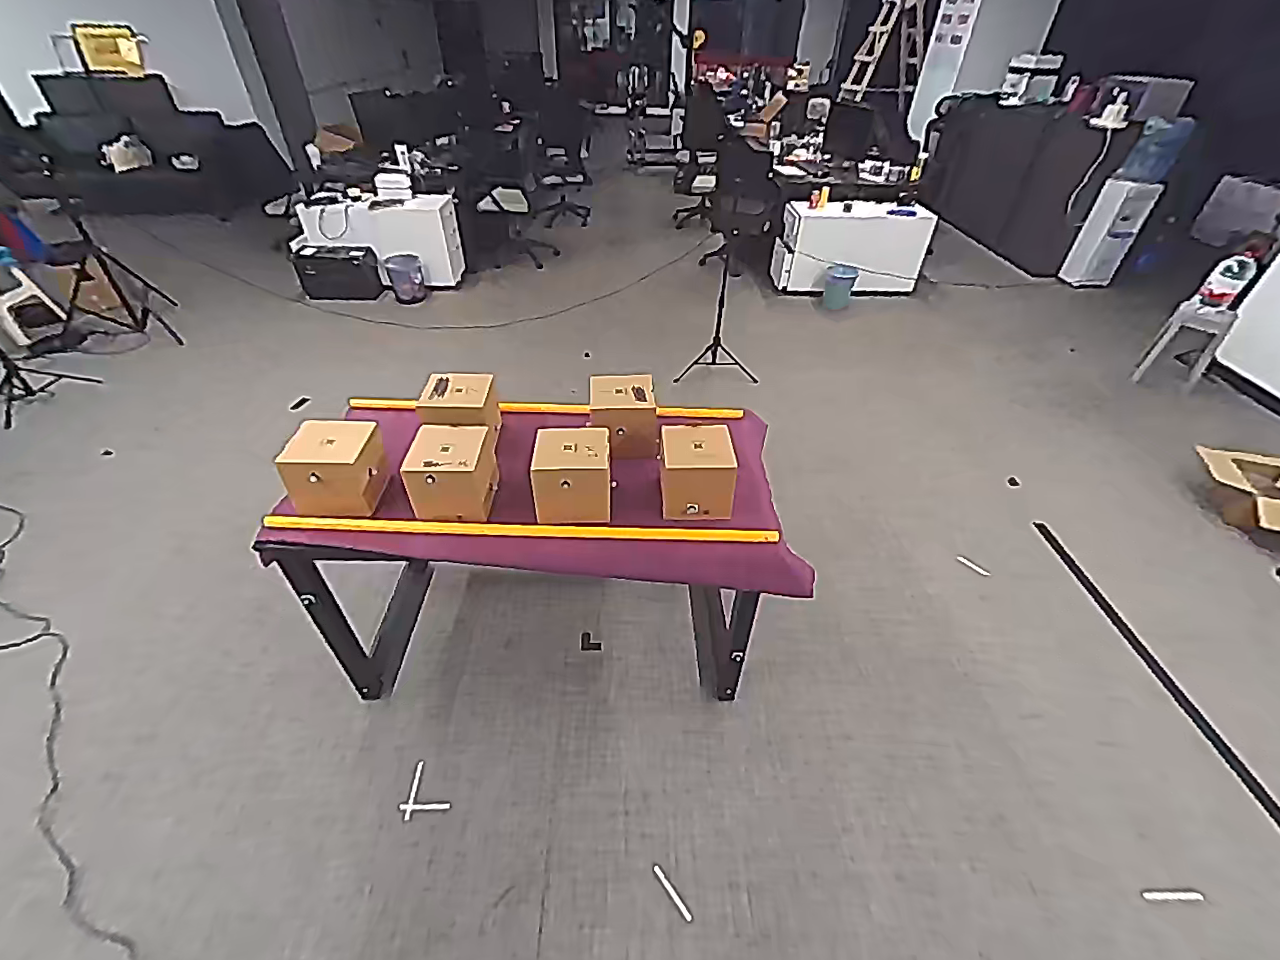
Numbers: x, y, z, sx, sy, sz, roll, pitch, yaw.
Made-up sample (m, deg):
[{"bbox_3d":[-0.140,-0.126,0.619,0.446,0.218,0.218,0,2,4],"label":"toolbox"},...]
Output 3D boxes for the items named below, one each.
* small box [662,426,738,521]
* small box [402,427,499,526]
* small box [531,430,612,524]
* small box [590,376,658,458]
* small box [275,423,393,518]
[{"bbox_3d":[0.139,-0.017,1.324,0.168,0.176,0.179,-1,38,0],"label":"small box"},{"bbox_3d":[-0.445,-0.009,1.305,0.168,0.176,0.179,0,40,0],"label":"small box"},{"bbox_3d":[-0.159,-0.007,1.306,0.179,0.176,0.168,0,39,-2],"label":"small box"},{"bbox_3d":[-0.046,-0.172,1.505,0.179,0.176,0.168,-2,41,-2],"label":"small box"},{"bbox_3d":[-0.725,-0.021,1.310,0.179,0.176,0.168,0,40,-2],"label":"small box"}]
